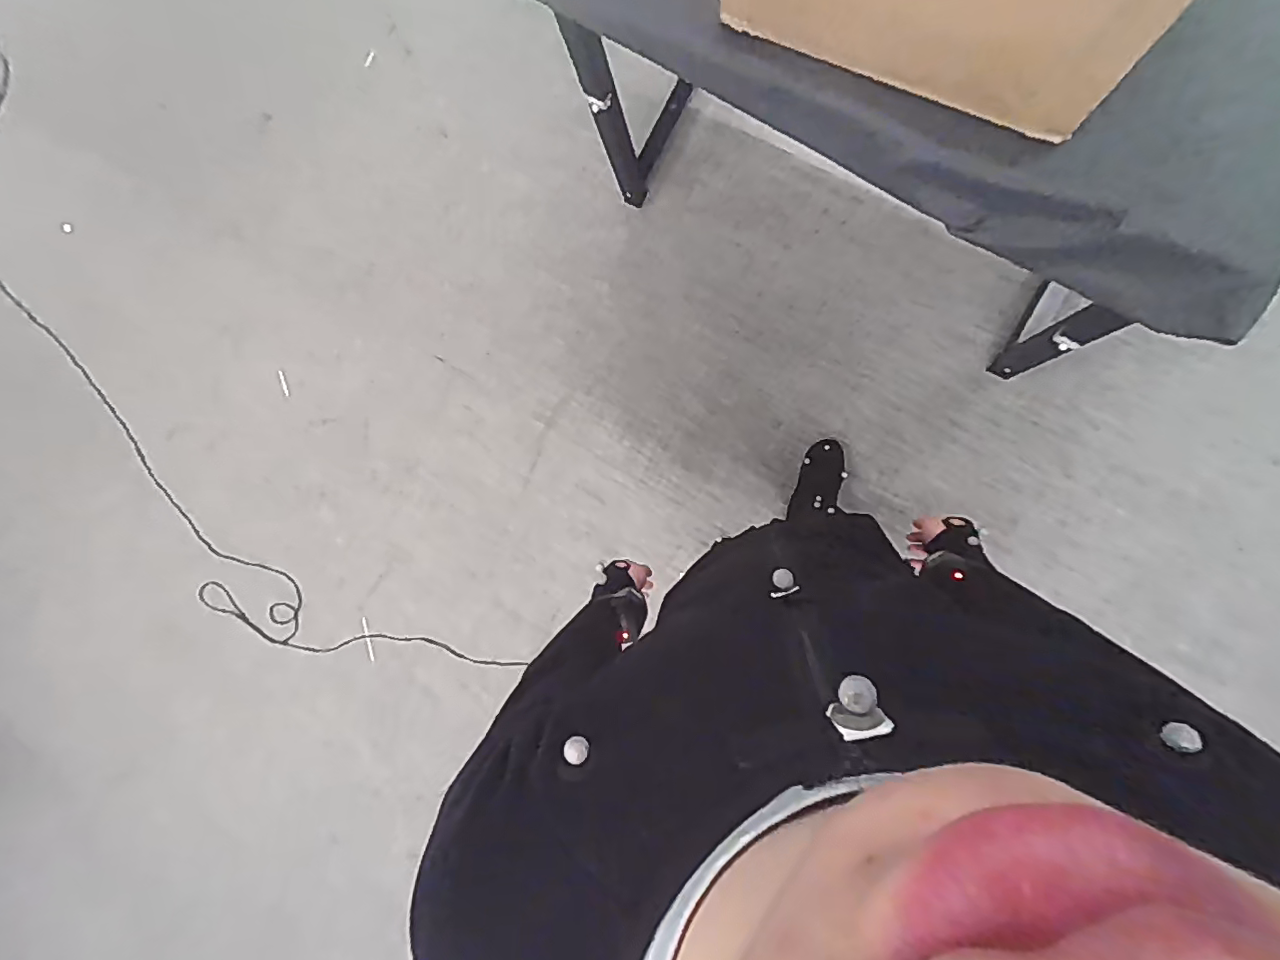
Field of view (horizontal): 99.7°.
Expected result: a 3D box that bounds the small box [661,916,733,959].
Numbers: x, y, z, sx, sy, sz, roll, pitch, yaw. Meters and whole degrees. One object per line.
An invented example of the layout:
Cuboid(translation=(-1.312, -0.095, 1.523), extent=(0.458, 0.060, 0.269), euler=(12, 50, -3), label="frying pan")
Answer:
Cuboid(translation=(0.147, 1.351, 1.457), extent=(0.168, 0.176, 0.179), euler=(27, 92, 8), label="small box")
